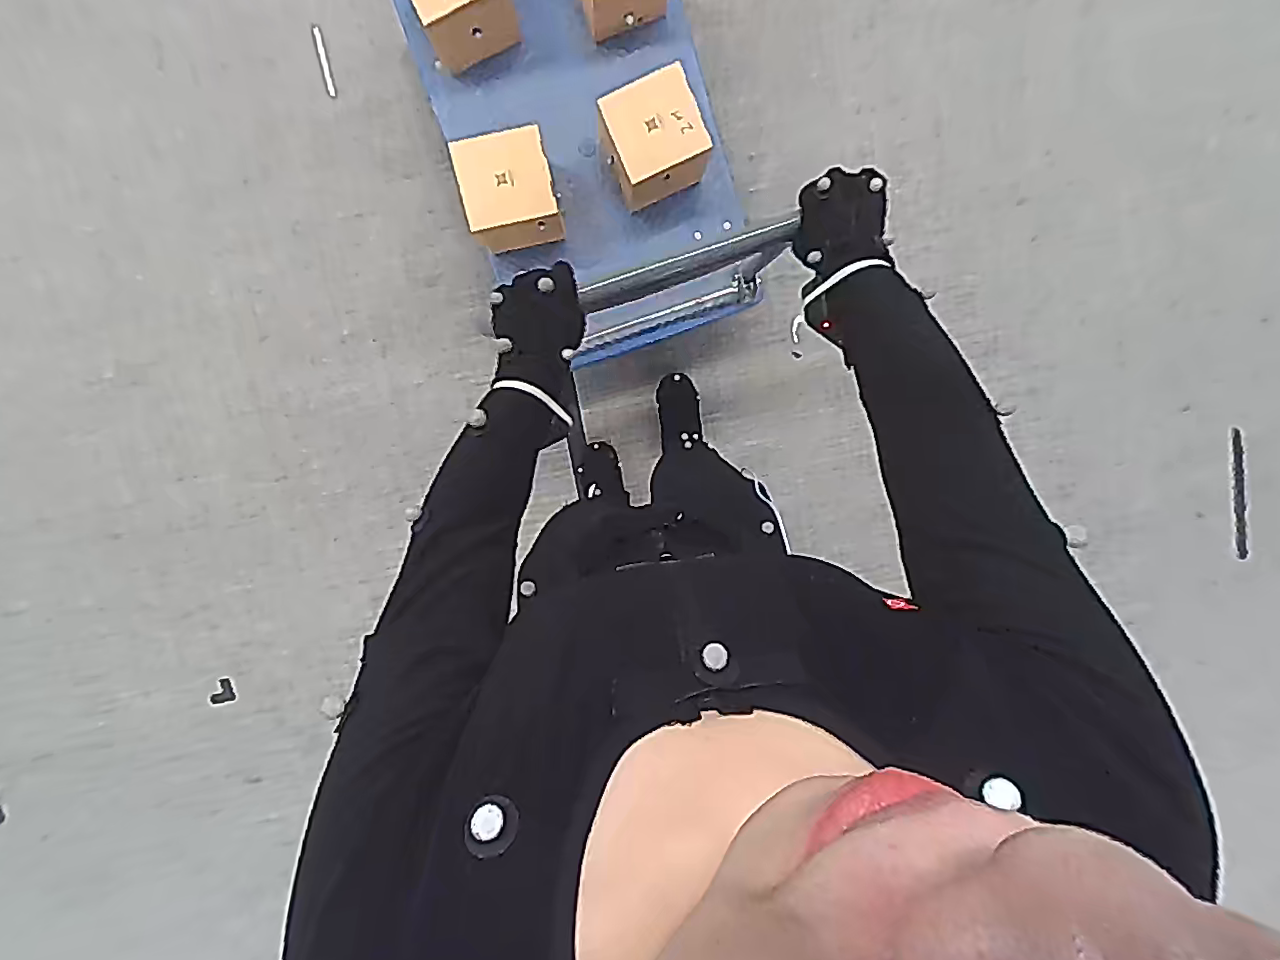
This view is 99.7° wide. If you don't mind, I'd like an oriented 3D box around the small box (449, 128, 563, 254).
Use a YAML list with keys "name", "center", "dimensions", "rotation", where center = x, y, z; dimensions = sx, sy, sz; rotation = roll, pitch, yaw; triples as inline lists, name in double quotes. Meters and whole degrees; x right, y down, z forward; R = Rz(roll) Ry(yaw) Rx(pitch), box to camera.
- name: "small box"
  center: [-0.268, -0.586, 1.120]
  dimensions: [0.179, 0.176, 0.168]
  rotation: [-14, 99, -2]

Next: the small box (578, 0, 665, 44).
- name: "small box"
  center: [-0.051, -1.021, 1.061]
  dimensions: [0.168, 0.176, 0.179]
  rotation: [-20, 100, 1]

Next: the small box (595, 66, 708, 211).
- name: "small box"
  center: [0.022, -0.688, 1.116]
  dimensions: [0.179, 0.176, 0.168]
  rotation: [-24, 99, 2]
